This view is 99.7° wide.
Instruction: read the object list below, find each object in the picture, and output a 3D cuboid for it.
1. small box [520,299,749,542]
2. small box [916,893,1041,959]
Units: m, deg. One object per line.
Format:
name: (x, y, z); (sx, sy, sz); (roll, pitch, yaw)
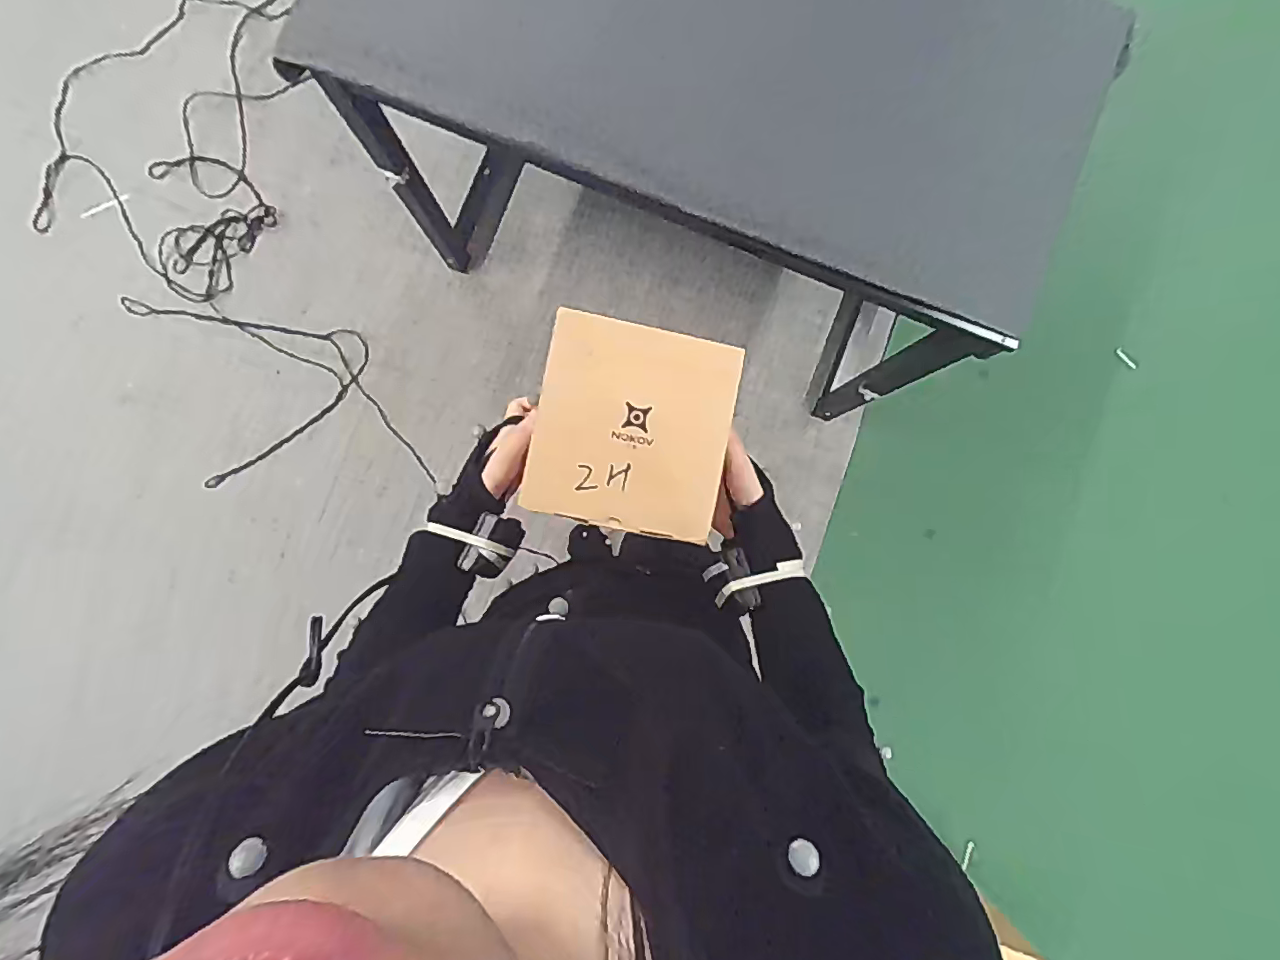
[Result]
small box: (-0.011, -0.047, 0.530); (0.168, 0.176, 0.179); (12, 88, -5)
small box: (0.765, 1.083, 1.214); (0.179, 0.176, 0.168); (21, 86, -1)
